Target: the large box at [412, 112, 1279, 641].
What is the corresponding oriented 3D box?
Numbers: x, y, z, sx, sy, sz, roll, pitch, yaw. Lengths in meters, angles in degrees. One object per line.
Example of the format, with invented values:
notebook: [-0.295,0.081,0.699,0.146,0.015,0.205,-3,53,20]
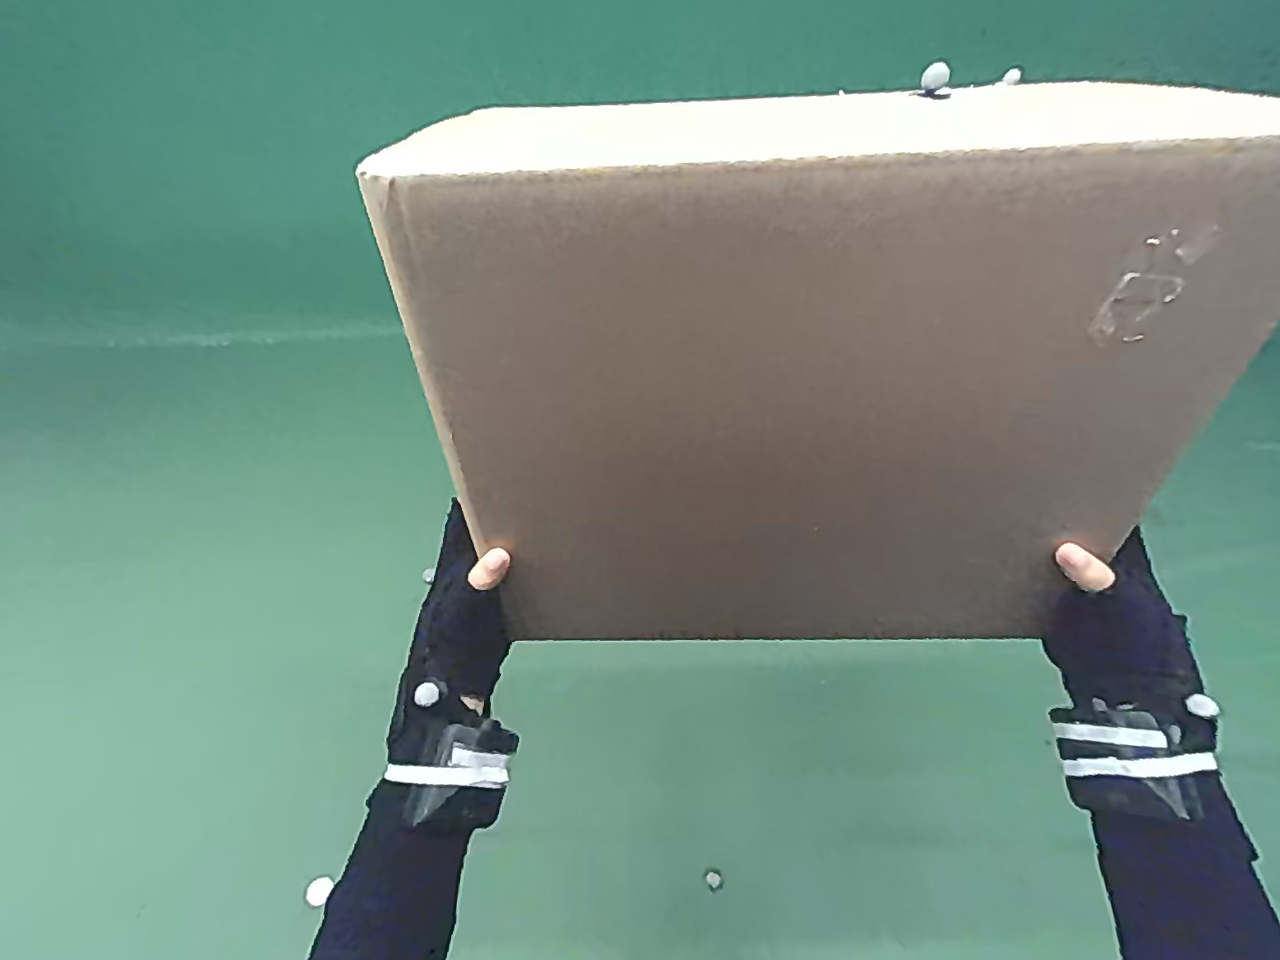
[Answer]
large box: [0.103,-0.092,0.426,0.408,0.320,0.320,0,38,1]
